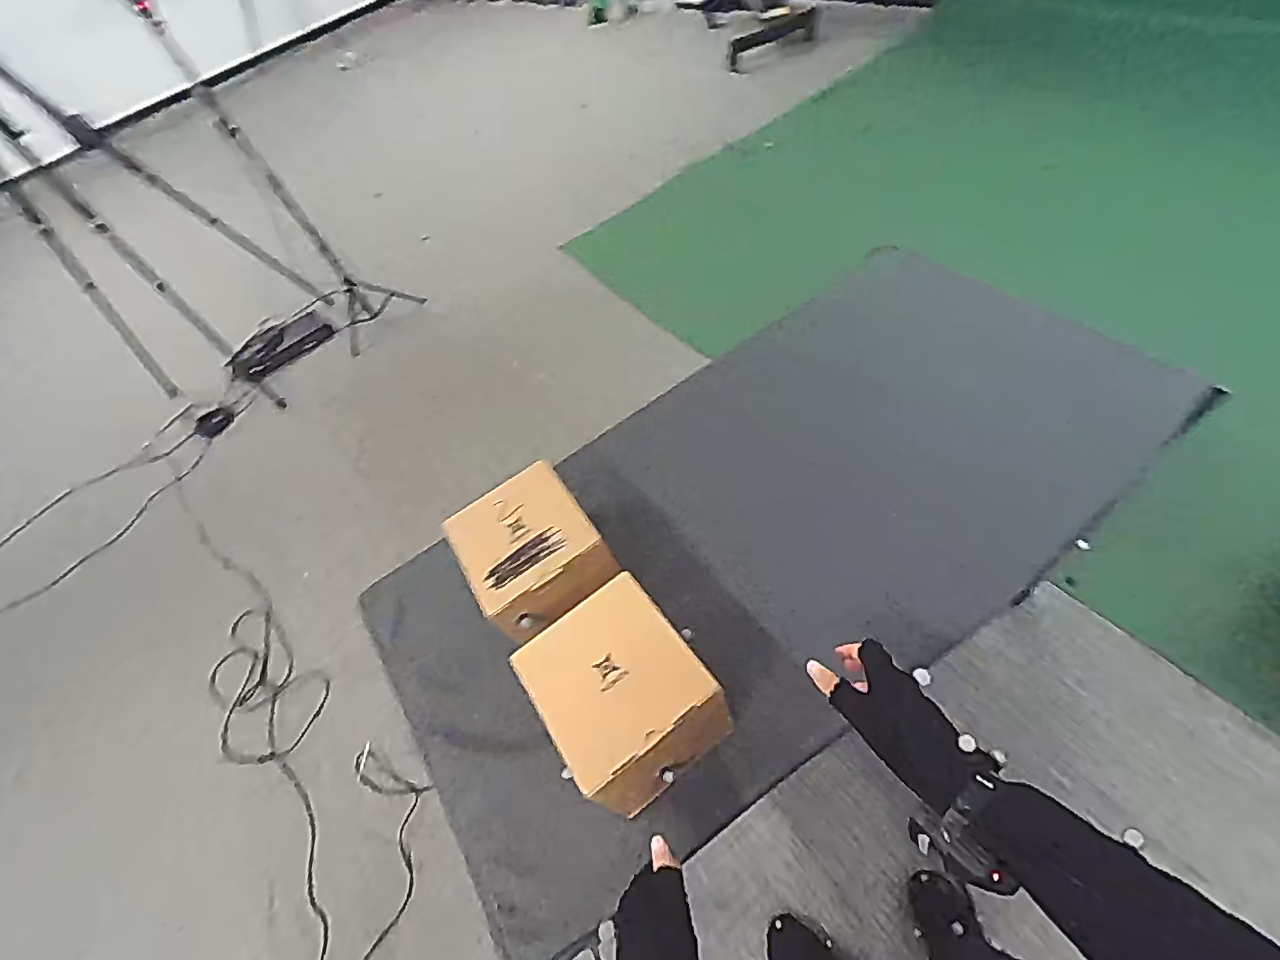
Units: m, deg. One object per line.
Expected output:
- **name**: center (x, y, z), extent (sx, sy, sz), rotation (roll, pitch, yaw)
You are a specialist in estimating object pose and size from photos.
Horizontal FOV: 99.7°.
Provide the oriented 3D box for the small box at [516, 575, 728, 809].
- **small box**: center (-0.015, 0.254, 0.643), extent (0.168, 0.176, 0.179), rotation (-36, 52, -12)
